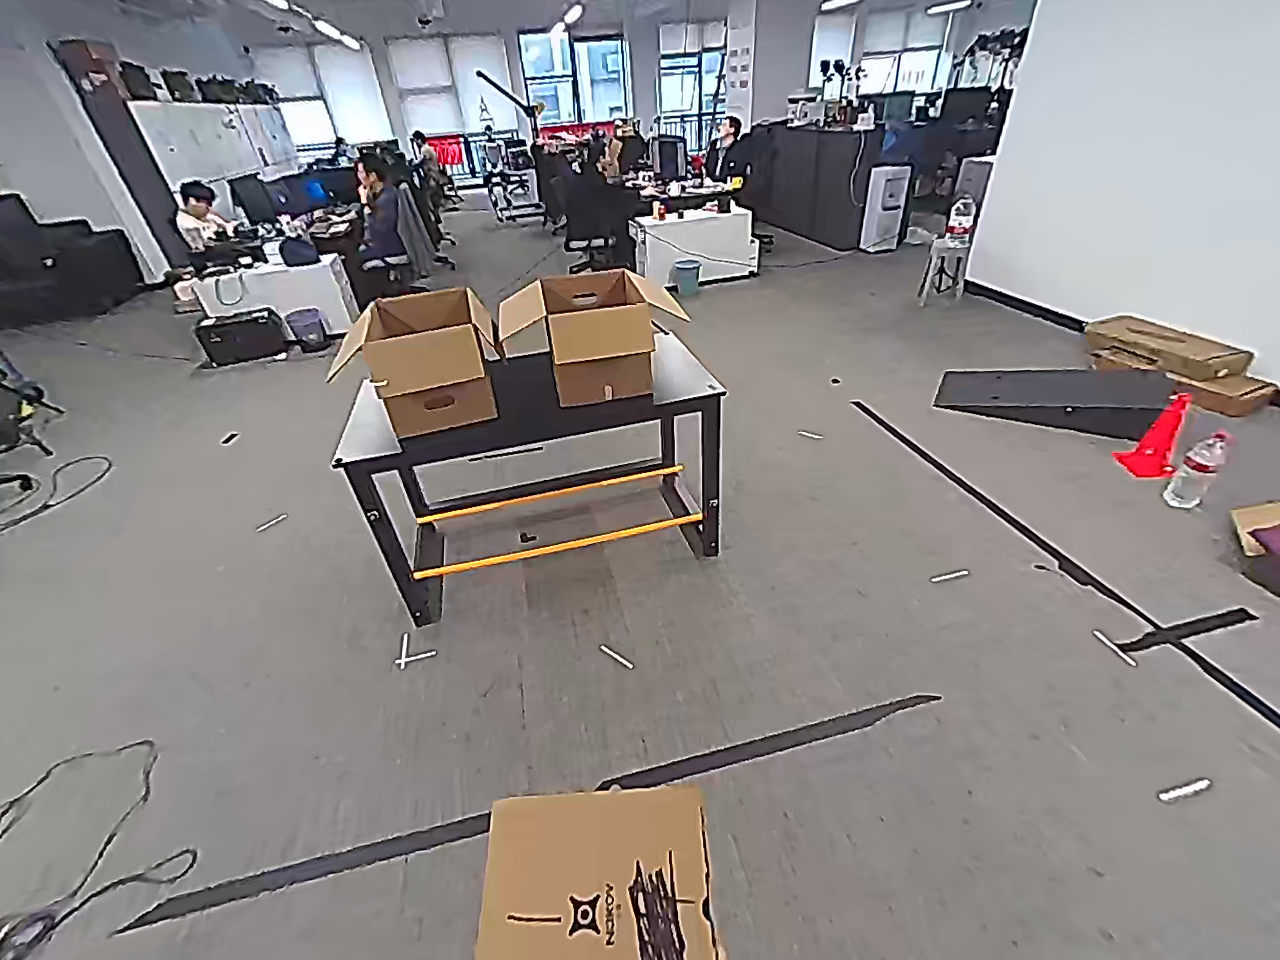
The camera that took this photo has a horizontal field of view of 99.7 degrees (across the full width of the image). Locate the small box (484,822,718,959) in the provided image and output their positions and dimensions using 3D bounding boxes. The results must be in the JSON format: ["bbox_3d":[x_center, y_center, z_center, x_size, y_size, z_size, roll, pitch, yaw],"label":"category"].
[{"bbox_3d":[-0.027,0.402,0.460,0.179,0.176,0.168,-4,48,0],"label":"small box"}]
